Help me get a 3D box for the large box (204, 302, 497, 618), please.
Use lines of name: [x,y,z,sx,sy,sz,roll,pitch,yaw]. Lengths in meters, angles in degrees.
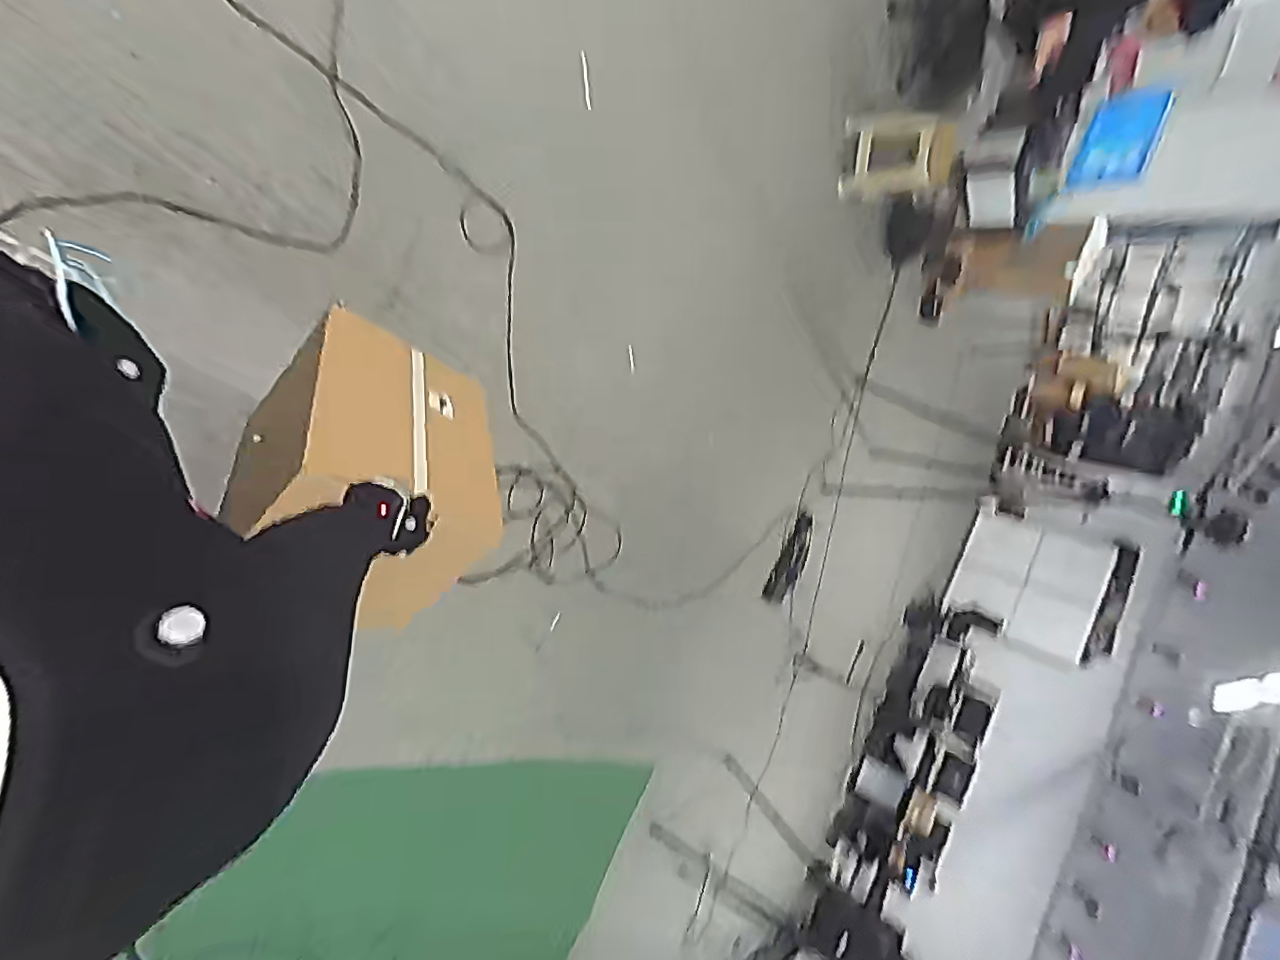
large box: [-0.495,-0.022,0.960,0.320,0.408,0.320,-39,137,19]
